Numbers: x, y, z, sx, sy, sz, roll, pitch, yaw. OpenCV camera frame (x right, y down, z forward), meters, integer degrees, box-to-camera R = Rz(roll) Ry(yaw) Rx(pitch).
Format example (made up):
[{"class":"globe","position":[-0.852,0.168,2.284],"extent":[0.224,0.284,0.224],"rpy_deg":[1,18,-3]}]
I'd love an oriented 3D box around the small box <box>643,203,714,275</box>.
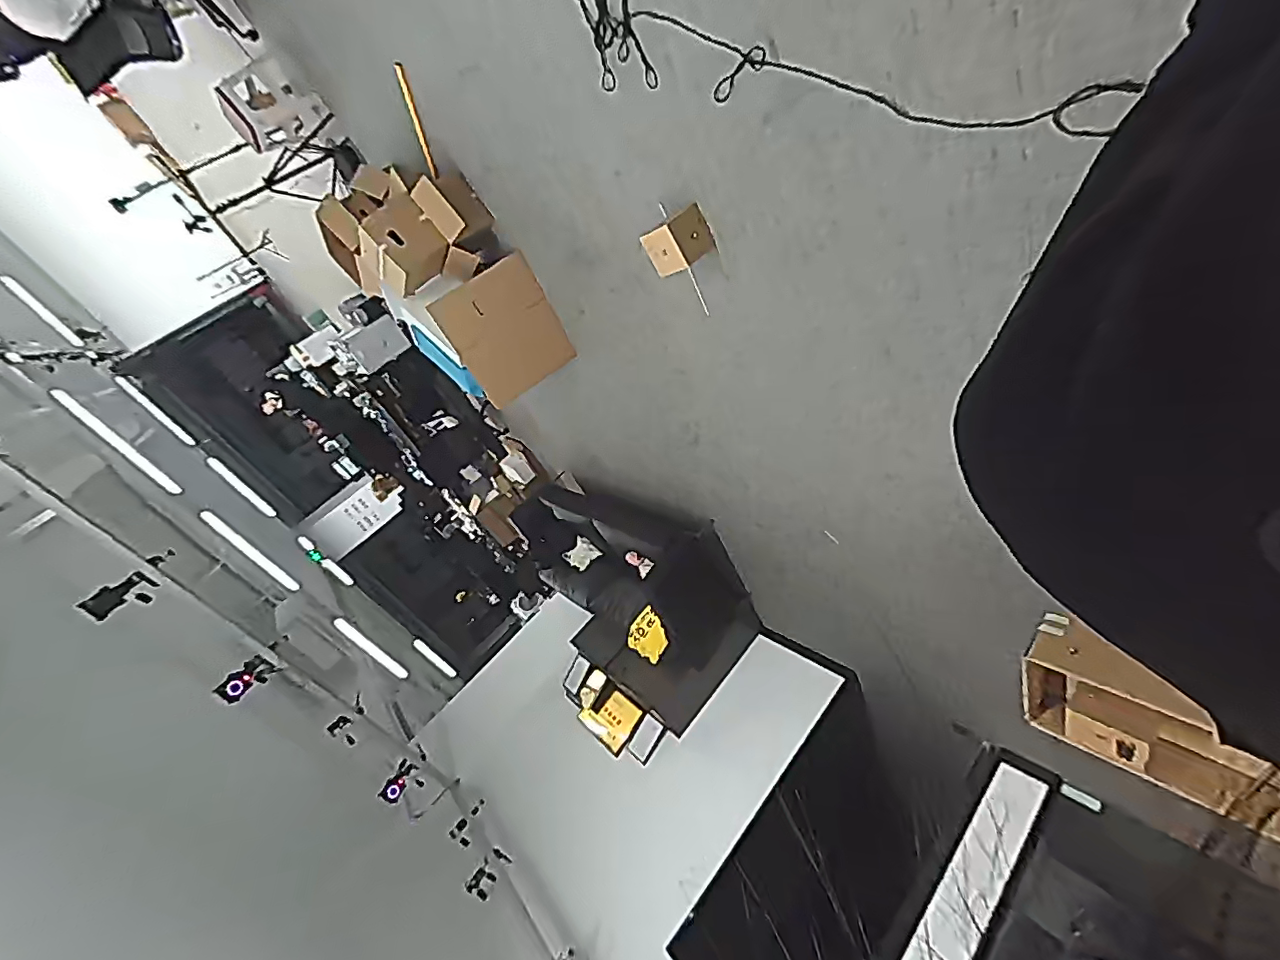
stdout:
[{"class":"small box","position":[0.151,-0.891,2.000],"extent":[0.179,0.176,0.168],"rpy_deg":[11,141,57]}]
